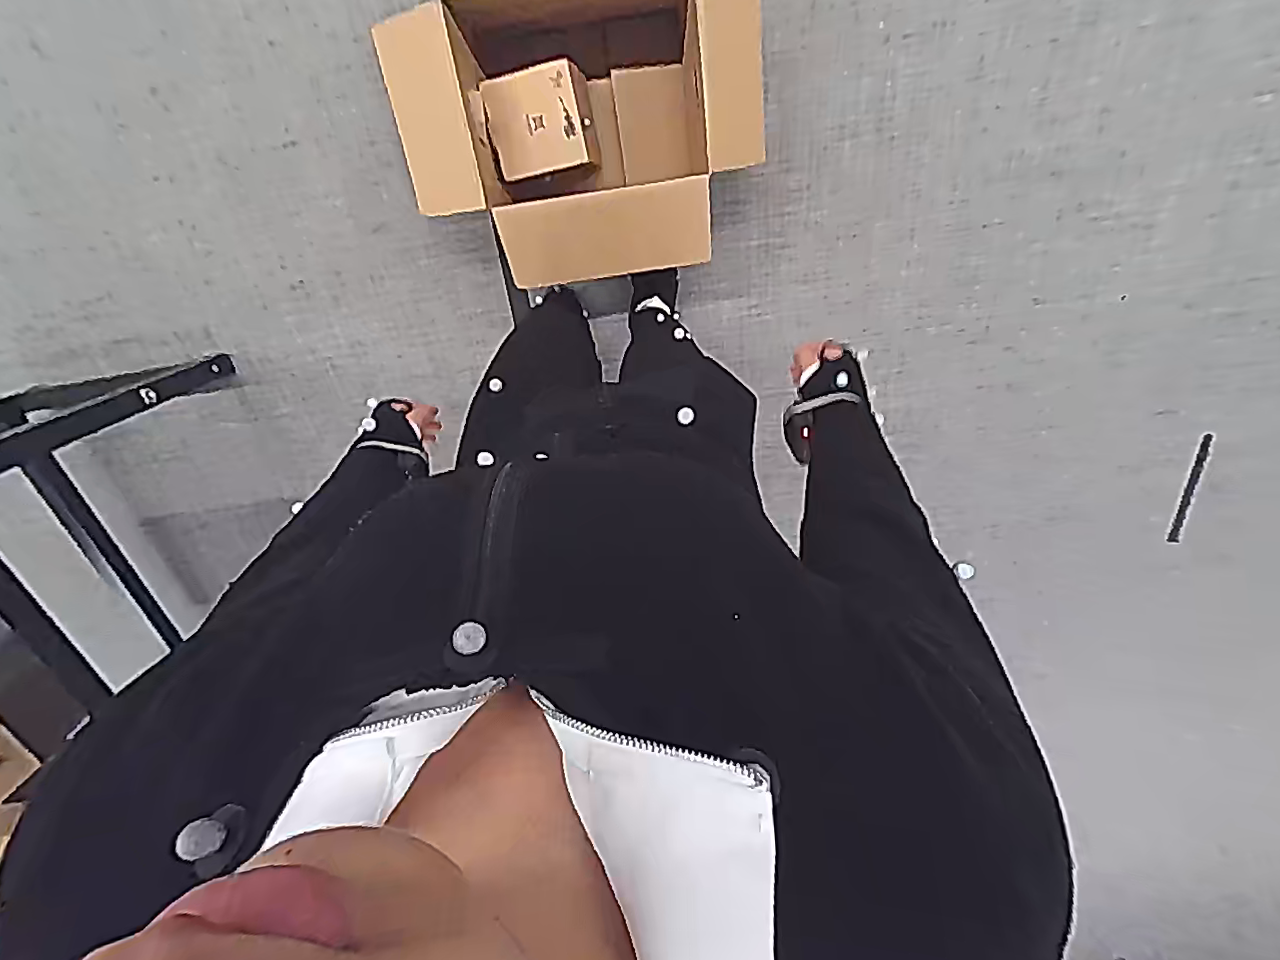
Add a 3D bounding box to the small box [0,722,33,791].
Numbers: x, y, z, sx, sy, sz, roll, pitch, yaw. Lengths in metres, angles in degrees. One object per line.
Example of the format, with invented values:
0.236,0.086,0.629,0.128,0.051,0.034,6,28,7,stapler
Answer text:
-1.236,0.509,0.922,0.179,0.176,0.168,-7,117,3,small box
